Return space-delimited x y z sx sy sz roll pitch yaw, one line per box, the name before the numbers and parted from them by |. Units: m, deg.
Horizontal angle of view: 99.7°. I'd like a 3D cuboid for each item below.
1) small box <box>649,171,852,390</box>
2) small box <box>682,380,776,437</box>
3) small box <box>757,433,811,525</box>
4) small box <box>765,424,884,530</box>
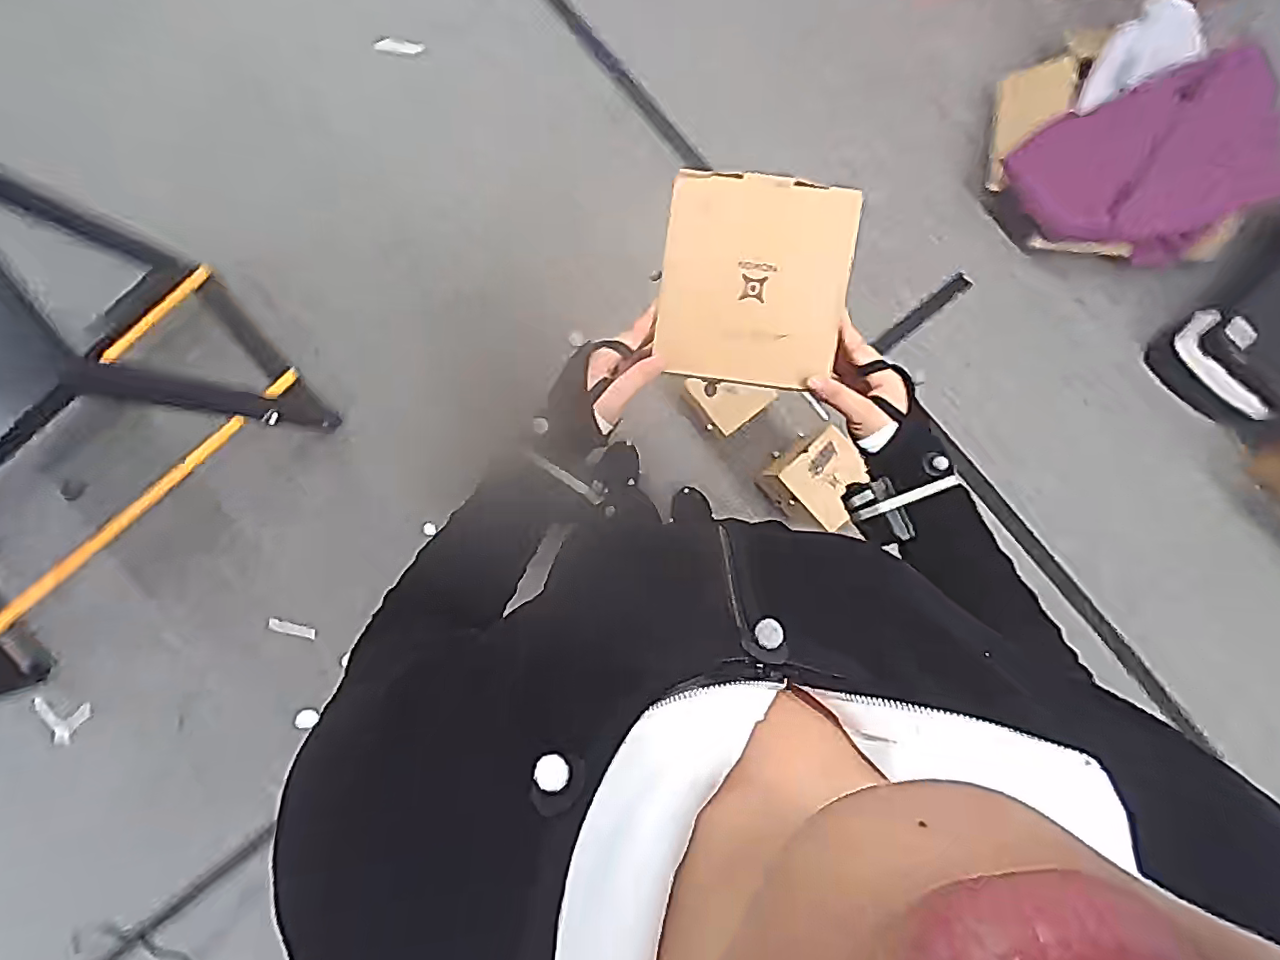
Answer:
small box | 0.100 -0.191 0.566 0.168 0.176 0.179 6 100 2
small box | 0.227 -0.225 1.418 0.168 0.176 0.179 -38 88 1
small box | 0.426 -0.002 1.416 0.179 0.176 0.168 -42 89 2
small box | 0.414 -0.004 1.250 0.168 0.176 0.179 -42 90 1
